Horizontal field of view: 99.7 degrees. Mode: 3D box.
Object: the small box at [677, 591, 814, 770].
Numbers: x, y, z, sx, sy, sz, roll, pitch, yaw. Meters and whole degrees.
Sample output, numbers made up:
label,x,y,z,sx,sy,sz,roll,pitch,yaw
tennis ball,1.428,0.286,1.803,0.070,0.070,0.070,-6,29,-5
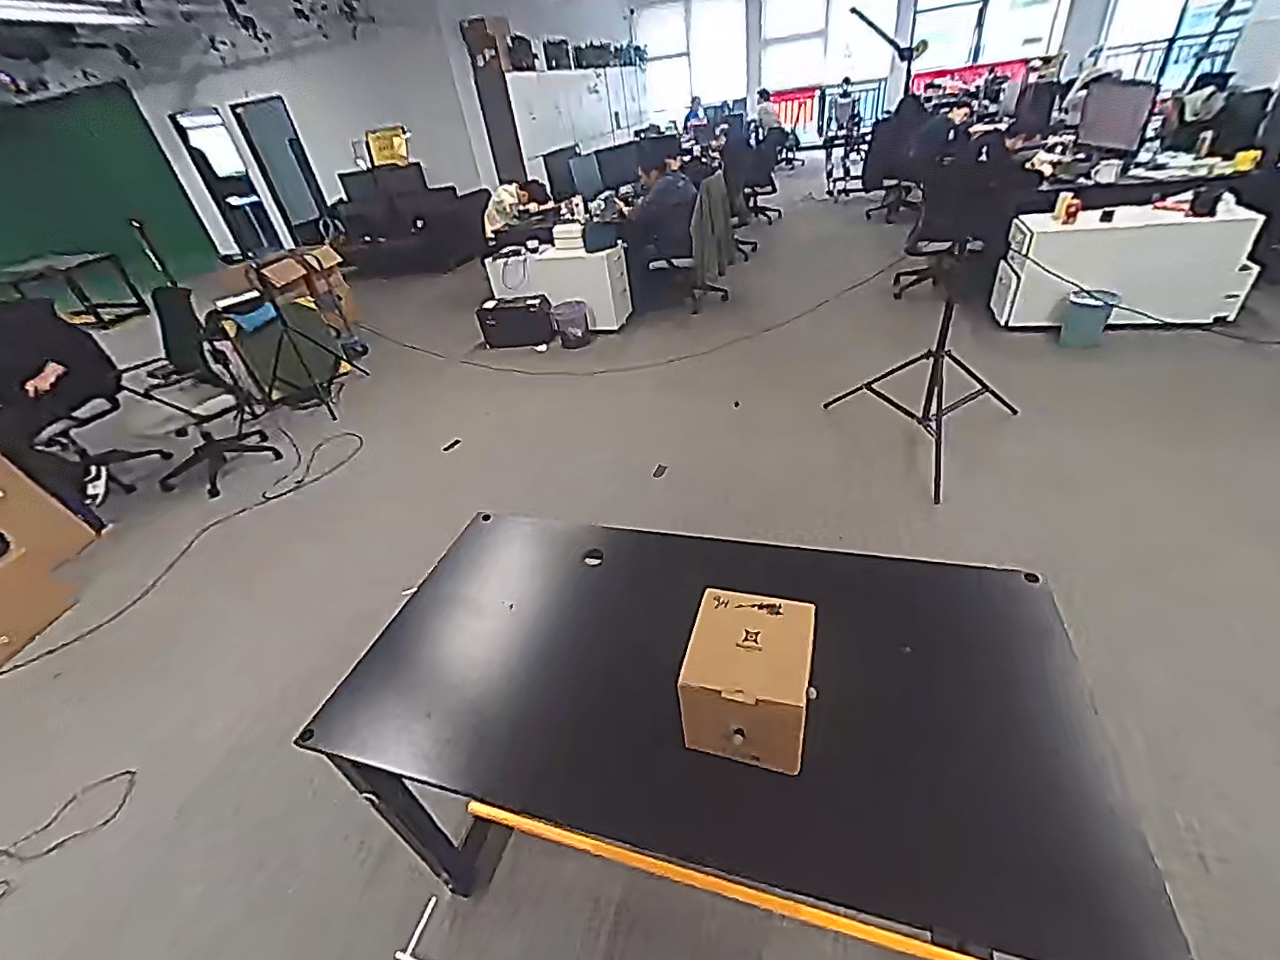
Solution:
label,x,y,z,sx,sy,sz,roll,pitch,yaw
small box,0.164,0.295,0.804,0.168,0.176,0.179,5,38,19
